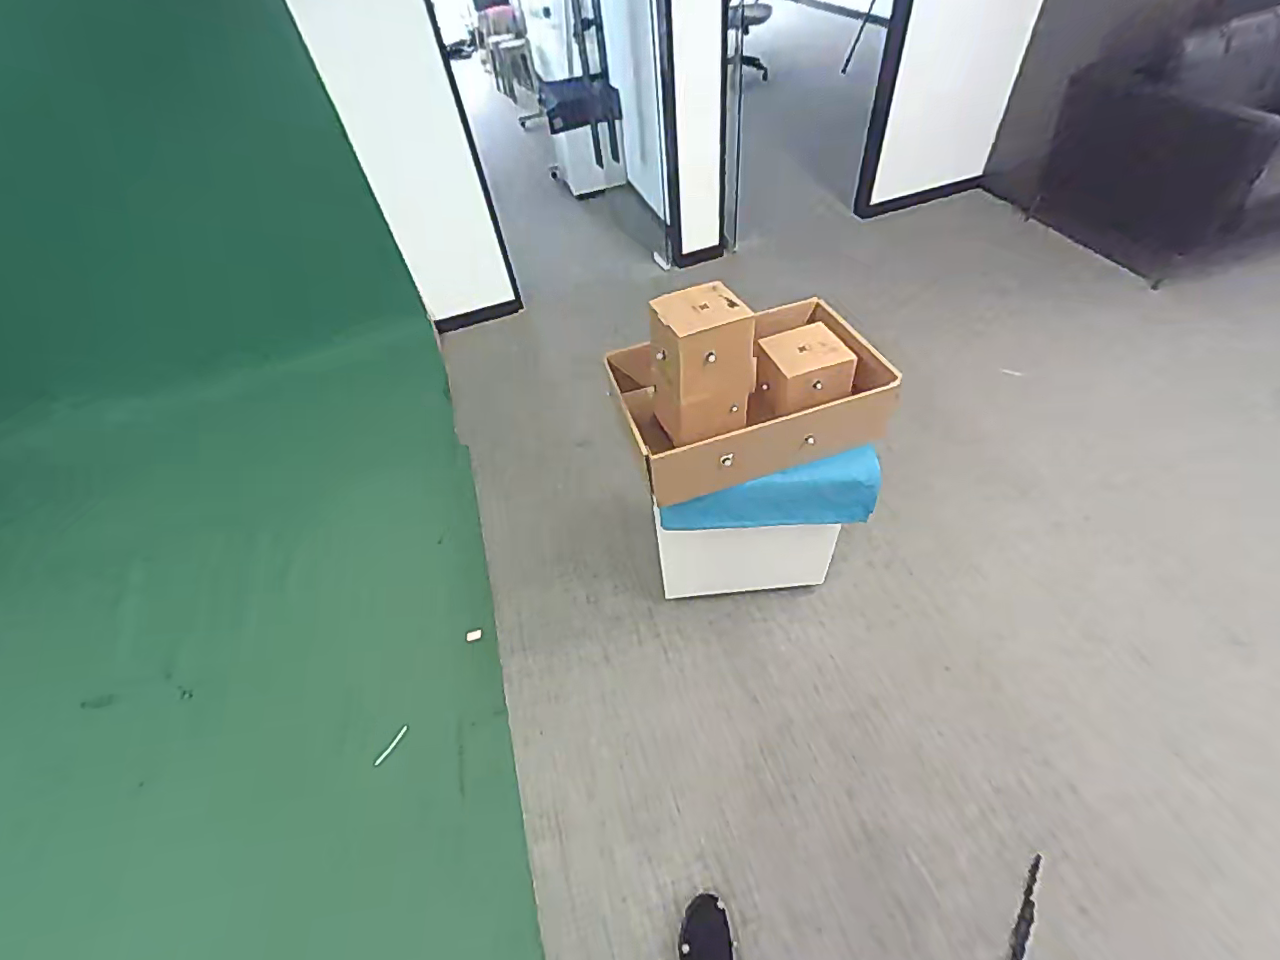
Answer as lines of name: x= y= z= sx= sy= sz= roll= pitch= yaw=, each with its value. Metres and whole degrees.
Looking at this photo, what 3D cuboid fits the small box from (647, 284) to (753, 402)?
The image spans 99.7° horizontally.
small box: x=0.131 y=-0.298 z=1.190 sx=0.179 sy=0.176 sz=0.168 roll=-20 pitch=49 yaw=-11
